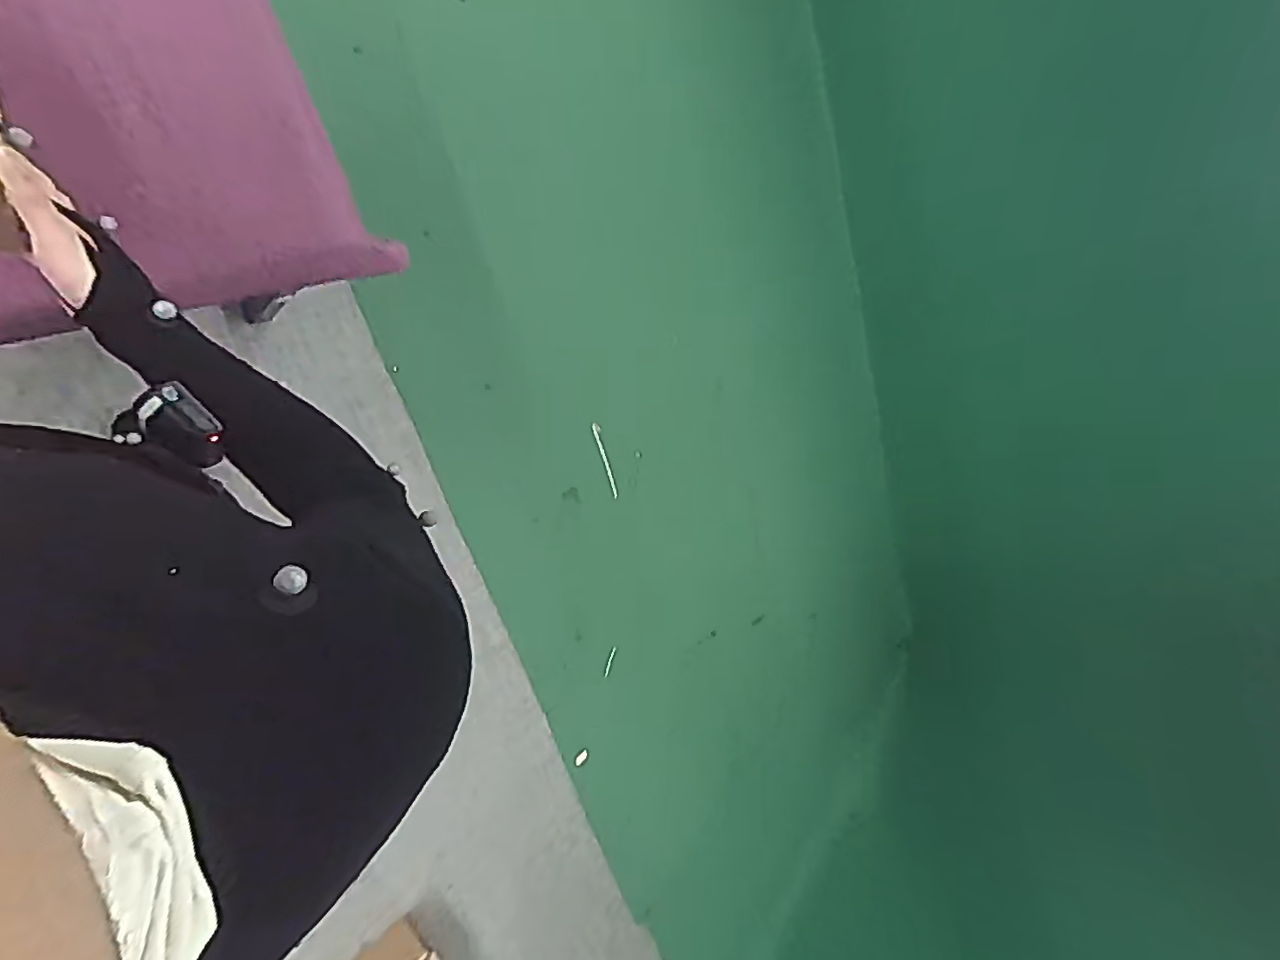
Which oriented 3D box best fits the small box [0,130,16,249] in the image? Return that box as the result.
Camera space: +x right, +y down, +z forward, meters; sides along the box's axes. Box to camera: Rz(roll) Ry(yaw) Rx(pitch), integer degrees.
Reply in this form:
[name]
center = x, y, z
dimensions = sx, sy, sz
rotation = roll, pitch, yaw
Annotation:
[small box]
center = -0.561, -0.275, 0.358
dimensions = 0.168, 0.176, 0.179
rotation = -11, 99, -43
